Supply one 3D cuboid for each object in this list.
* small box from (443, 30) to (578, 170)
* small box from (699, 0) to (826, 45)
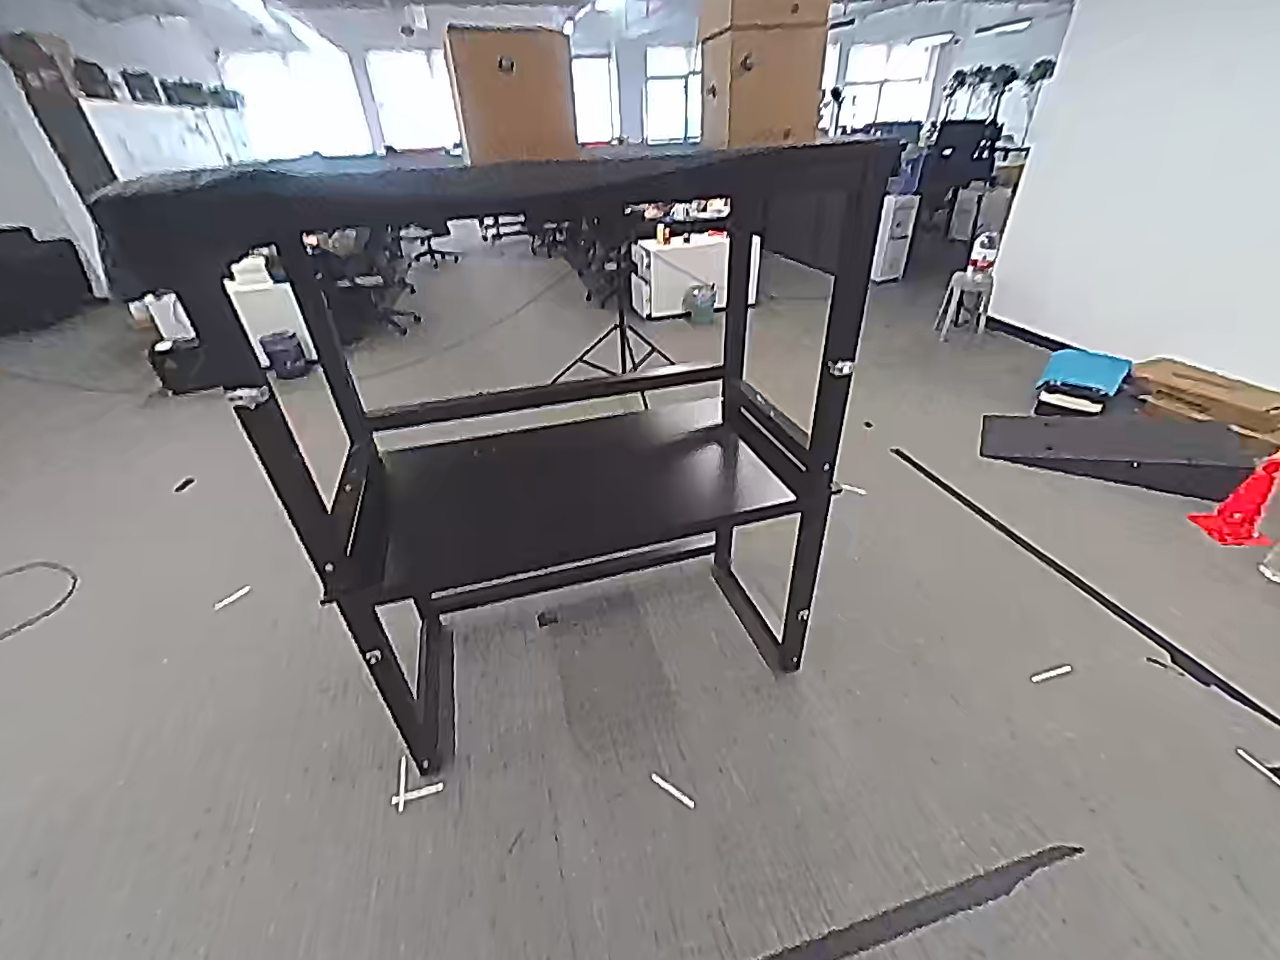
[{"bbox_3d":[-0.208,-0.603,0.875,0.179,0.176,0.168,-12,33,-15],"label":"small box"},{"bbox_3d":[0.195,-0.827,0.880,0.168,0.176,0.179,-10,34,-8],"label":"small box"}]
